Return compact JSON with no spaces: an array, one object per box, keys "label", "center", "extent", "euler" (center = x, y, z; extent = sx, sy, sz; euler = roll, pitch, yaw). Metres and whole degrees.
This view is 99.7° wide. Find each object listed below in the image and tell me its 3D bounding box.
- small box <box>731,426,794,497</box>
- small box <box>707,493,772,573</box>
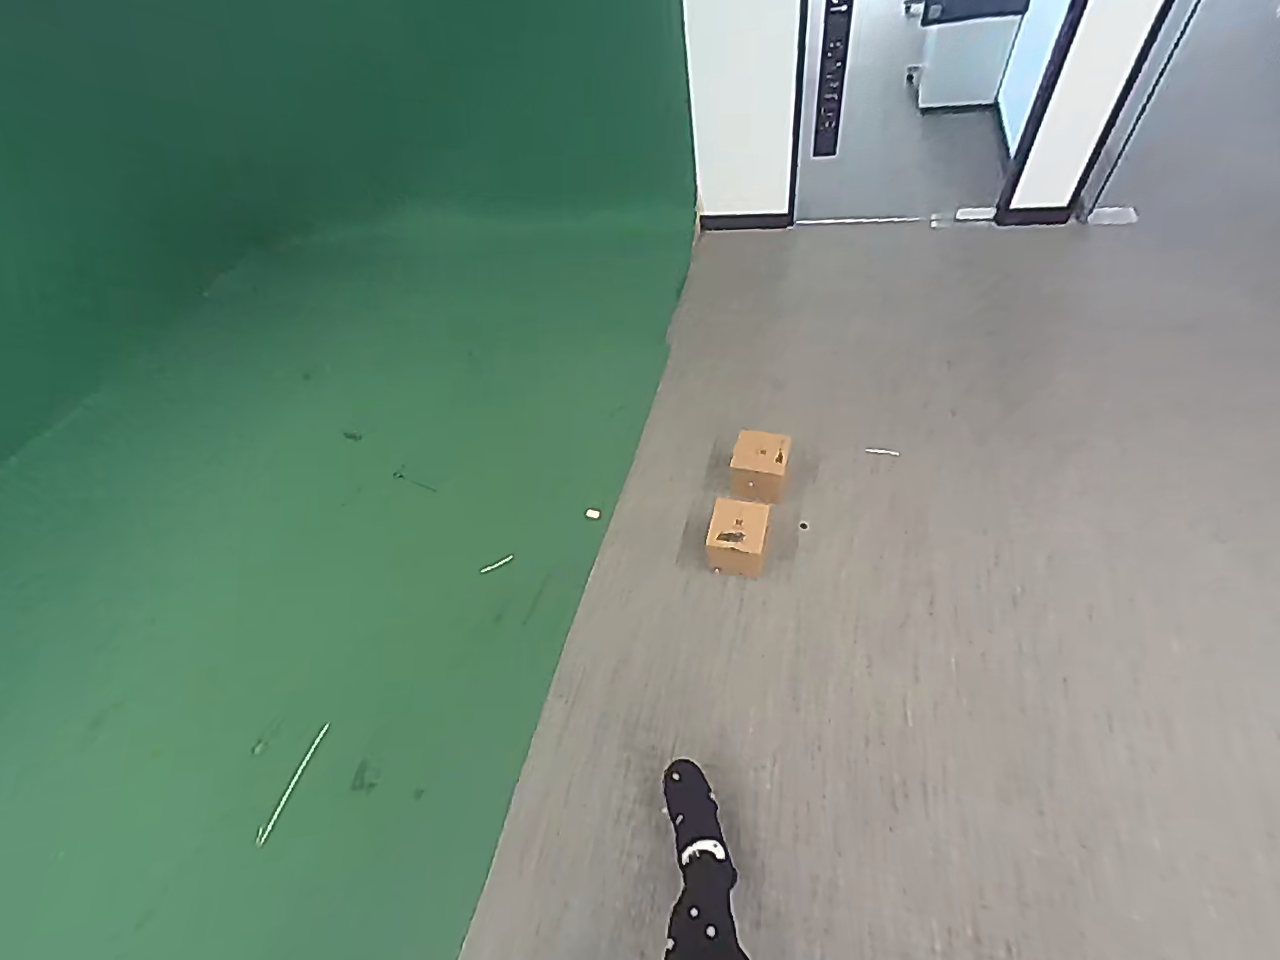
[{"label":"small box","center":[0.416,-0.060,1.821],"extent":[0.179,0.176,0.168],"euler":[10,57,19]},{"label":"small box","center":[0.313,0.169,1.675],"extent":[0.168,0.176,0.179],"euler":[9,56,17]}]
